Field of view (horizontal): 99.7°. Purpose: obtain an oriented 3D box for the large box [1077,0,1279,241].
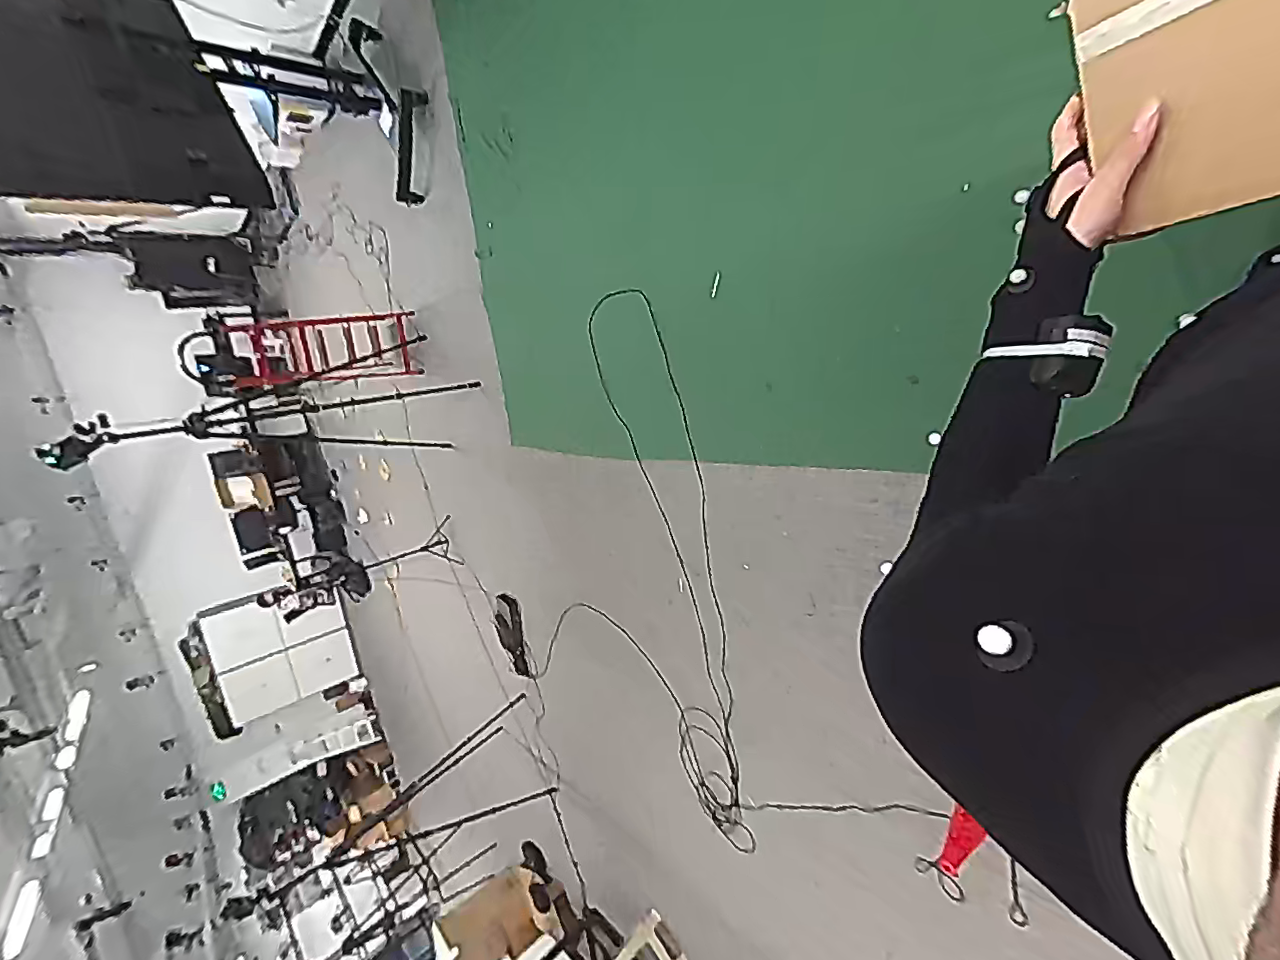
[{"bbox_3d":[0.595,-0.416,0.376,0.408,0.320,0.320,-2,115,52],"label":"large box"}]
